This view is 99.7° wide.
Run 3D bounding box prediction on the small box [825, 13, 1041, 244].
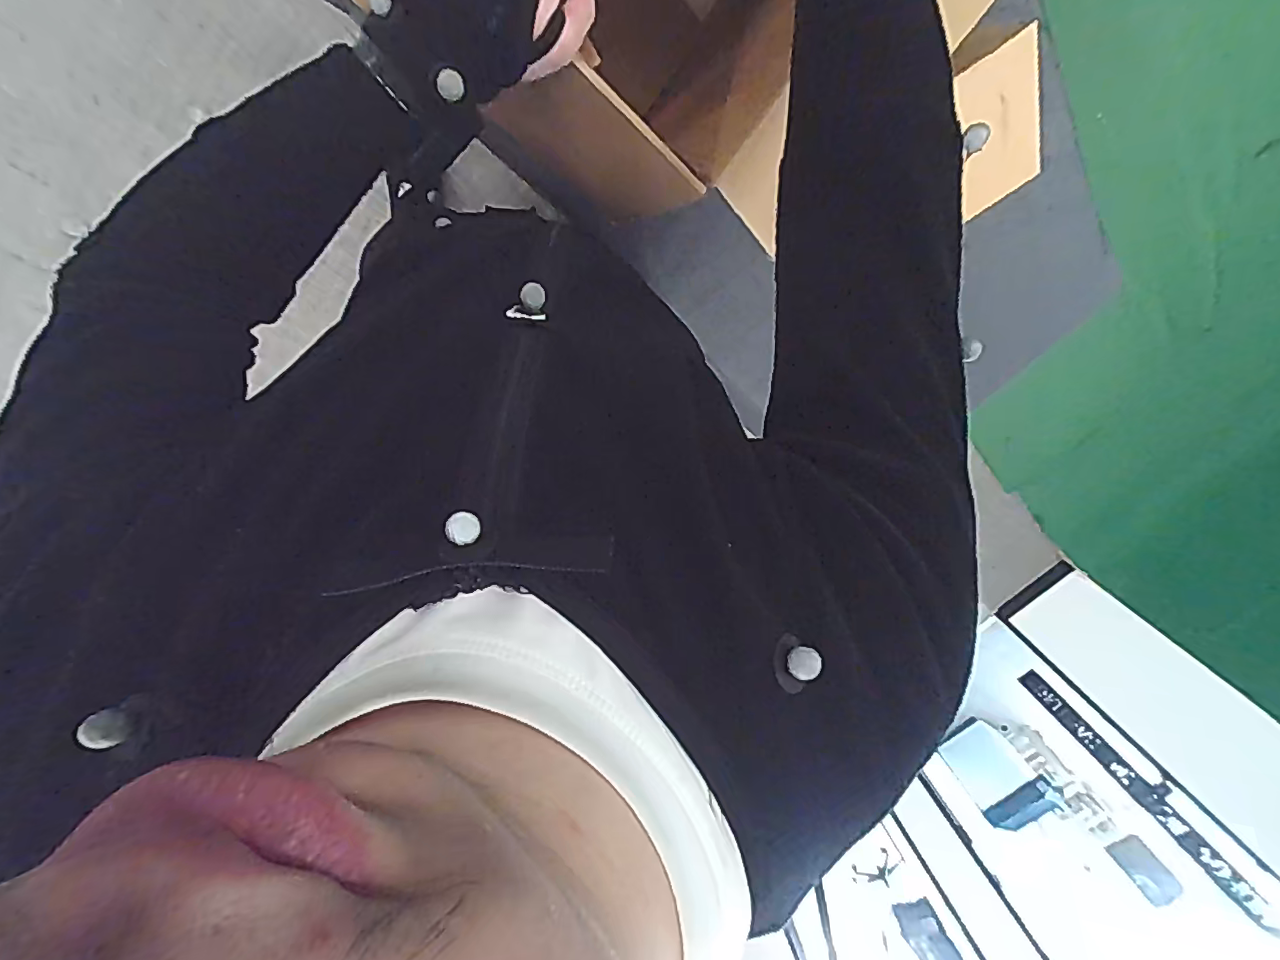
[{"bbox_3d":[0.356,-0.434,0.678,0.179,0.176,0.168,-33,130,6],"label":"small box"}]
